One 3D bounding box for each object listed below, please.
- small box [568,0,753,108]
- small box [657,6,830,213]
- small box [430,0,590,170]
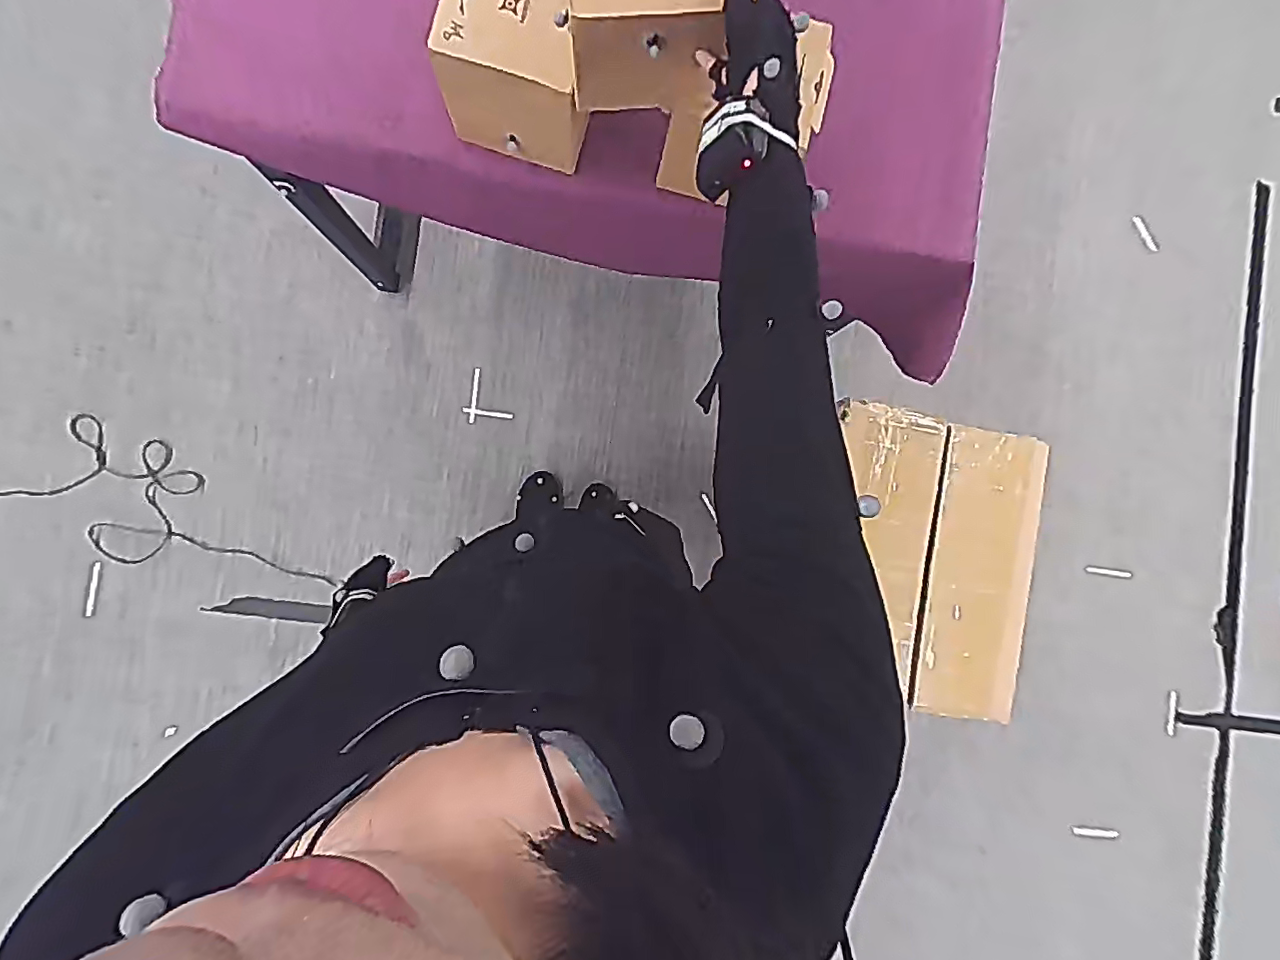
[{"bbox_3d":[0.010,-0.525,0.570,0.179,0.176,0.168,-6,97,-4],"label":"small box"},{"bbox_3d":[0.133,-0.505,0.754,0.179,0.176,0.168,13,86,-5],"label":"small box"},{"bbox_3d":[-0.153,-0.555,0.725,0.179,0.176,0.168,15,86,-6],"label":"small box"}]
